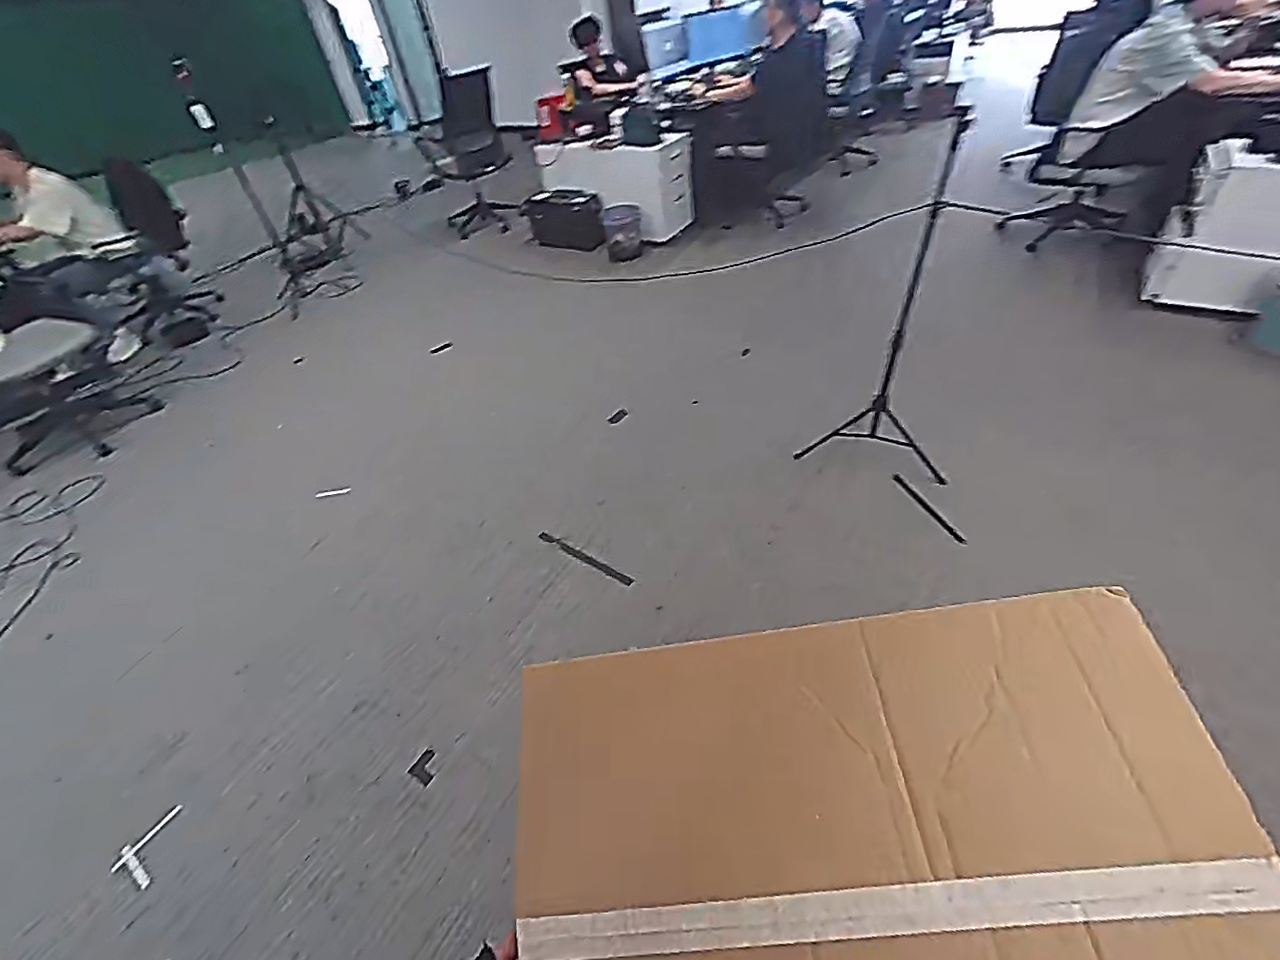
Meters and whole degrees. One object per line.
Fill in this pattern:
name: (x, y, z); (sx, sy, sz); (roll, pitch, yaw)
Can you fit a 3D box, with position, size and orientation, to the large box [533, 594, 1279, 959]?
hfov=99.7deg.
large box: (0.156, 0.315, 0.436); (0.408, 0.320, 0.320); (-10, 61, 7)
